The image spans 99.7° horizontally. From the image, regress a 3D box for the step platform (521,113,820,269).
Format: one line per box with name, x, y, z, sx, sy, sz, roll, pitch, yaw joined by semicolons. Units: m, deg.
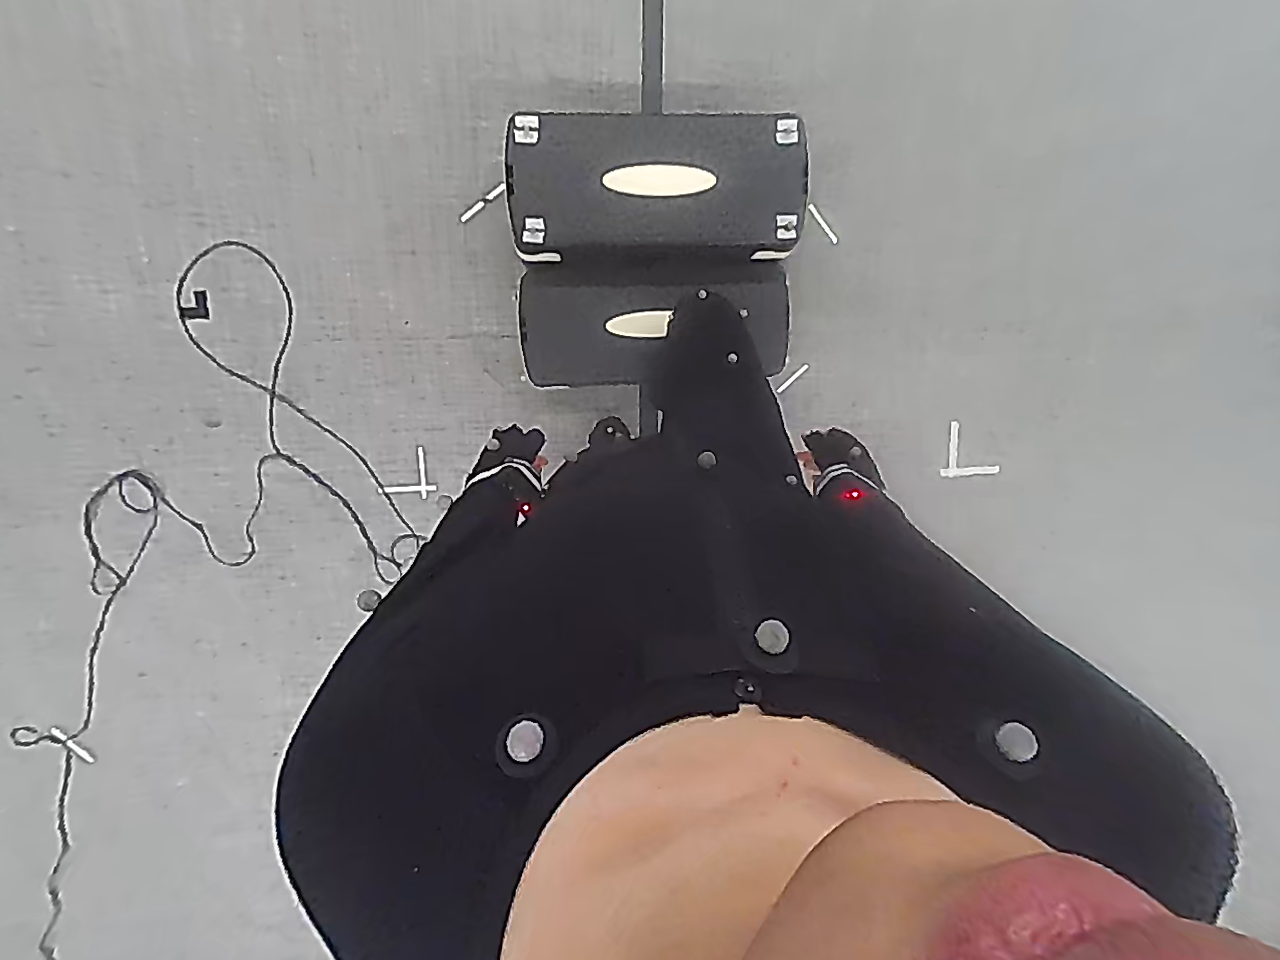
step platform;0.067;-0.672;1.270;0.684;0.204;0.286;-3;100;-4
